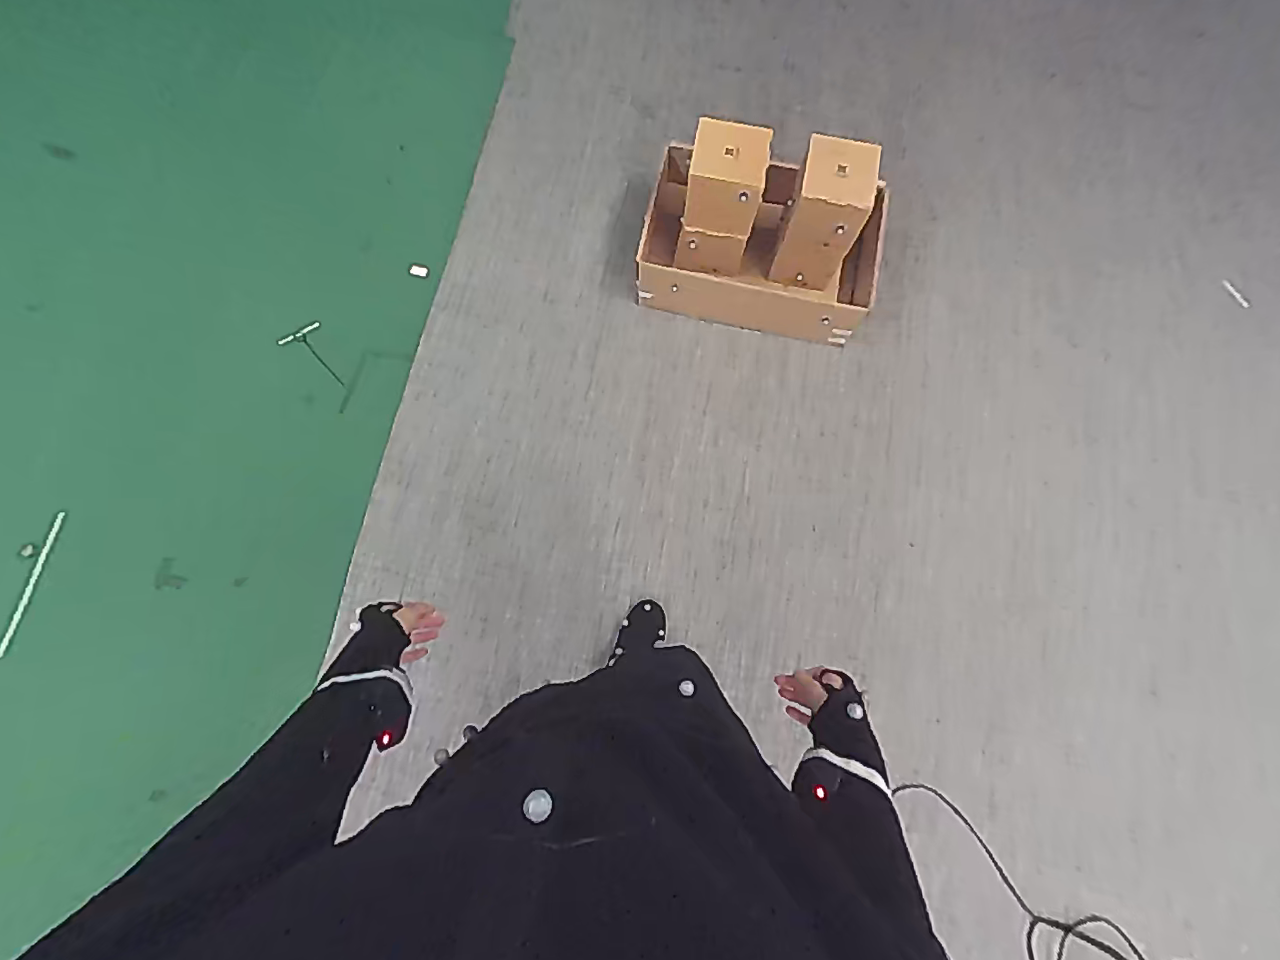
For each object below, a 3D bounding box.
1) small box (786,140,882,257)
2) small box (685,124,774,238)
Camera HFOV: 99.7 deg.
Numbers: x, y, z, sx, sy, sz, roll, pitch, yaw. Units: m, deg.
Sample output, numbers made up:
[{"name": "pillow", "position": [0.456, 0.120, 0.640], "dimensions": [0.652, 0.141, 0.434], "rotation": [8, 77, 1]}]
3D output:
[{"name": "small box", "position": [0.462, -0.675, 1.313], "dimensions": [0.168, 0.176, 0.179], "rotation": [13, 77, 3]}, {"name": "small box", "position": [0.212, -0.724, 1.325], "dimensions": [0.179, 0.176, 0.168], "rotation": [11, 76, 2]}]
